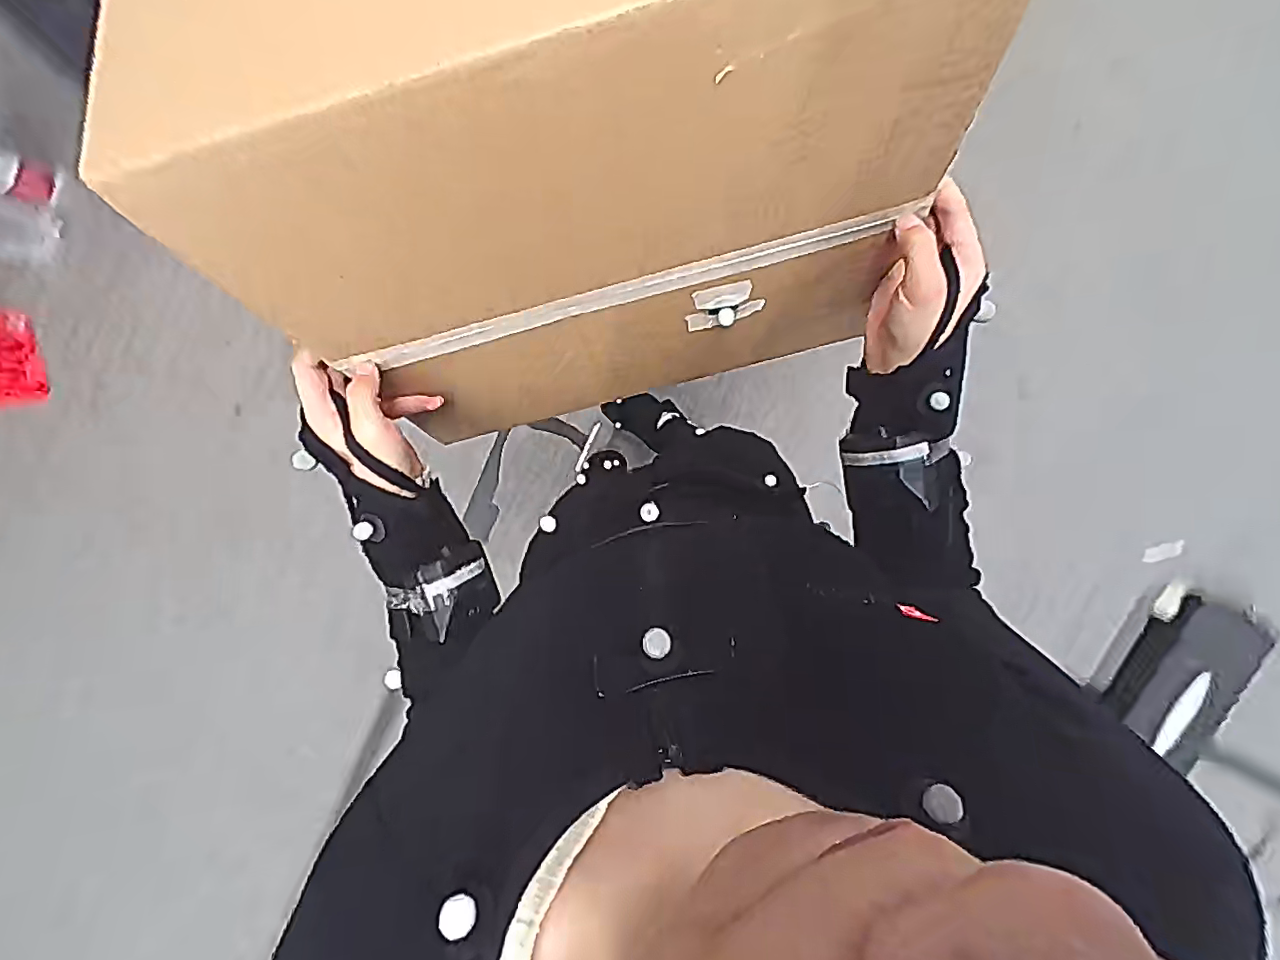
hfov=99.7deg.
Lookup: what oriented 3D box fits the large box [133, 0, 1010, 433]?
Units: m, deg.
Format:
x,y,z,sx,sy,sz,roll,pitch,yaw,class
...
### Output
x,y,z,sx,sy,sz,roll,pitch,yaw,class
-0.044,-0.274,0.407,0.408,0.320,0.320,-14,73,3,large box
